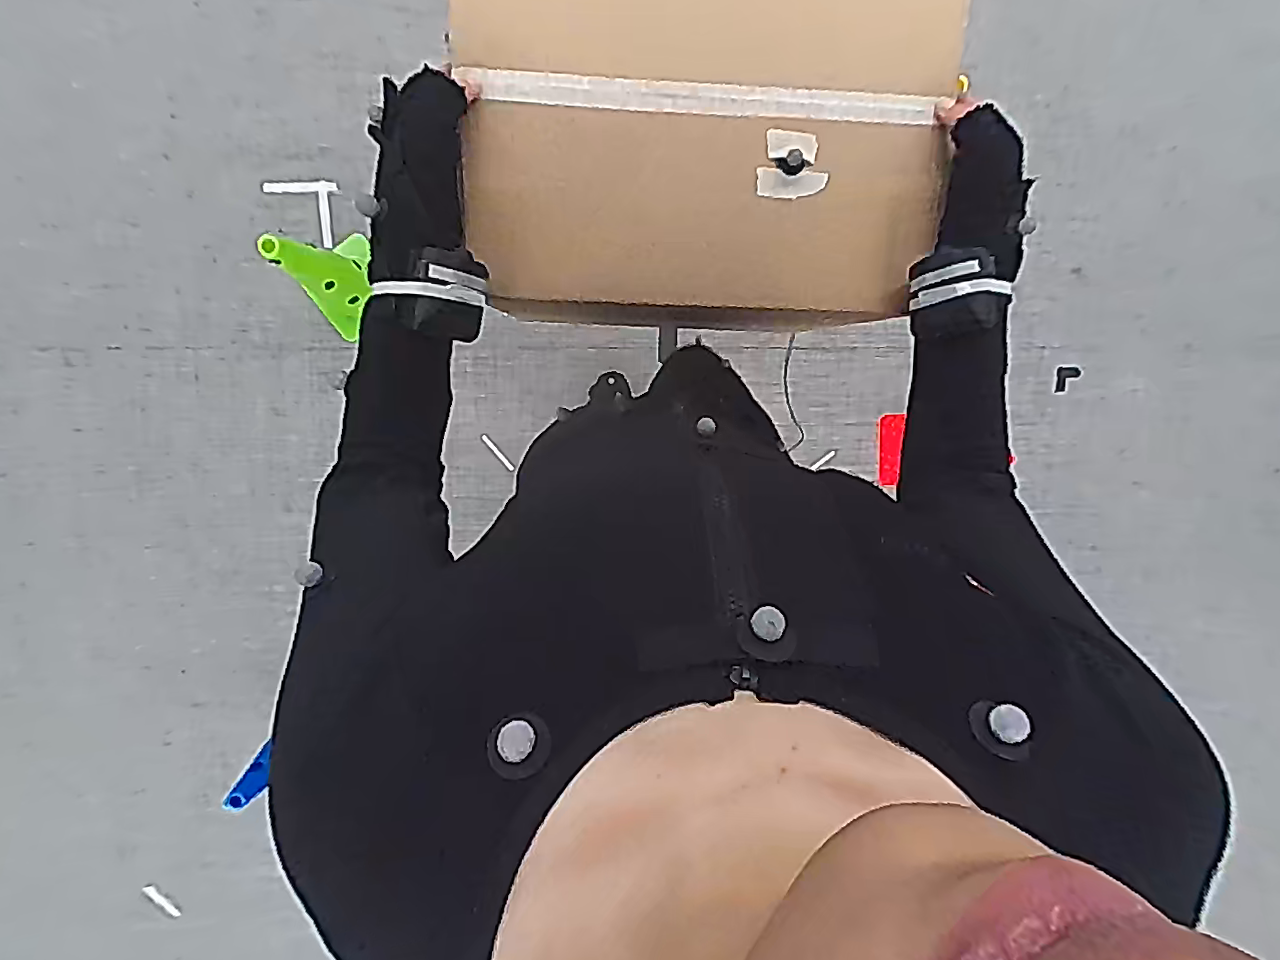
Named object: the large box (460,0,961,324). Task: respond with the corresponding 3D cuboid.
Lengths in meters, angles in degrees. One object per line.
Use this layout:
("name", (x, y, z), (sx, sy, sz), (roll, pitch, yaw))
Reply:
("large box", (0.046, -0.342, 0.582), (0.408, 0.320, 0.320), (0, 103, -5))

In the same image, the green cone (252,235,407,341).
("green cone", (-0.706, -0.456, 1.180), (0.202, 0.368, 0.200), (-38, 97, 3))

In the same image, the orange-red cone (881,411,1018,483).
("orange-red cone", (0.776, -0.073, 1.328), (0.198, 0.360, 0.199), (-3, 96, -4))
